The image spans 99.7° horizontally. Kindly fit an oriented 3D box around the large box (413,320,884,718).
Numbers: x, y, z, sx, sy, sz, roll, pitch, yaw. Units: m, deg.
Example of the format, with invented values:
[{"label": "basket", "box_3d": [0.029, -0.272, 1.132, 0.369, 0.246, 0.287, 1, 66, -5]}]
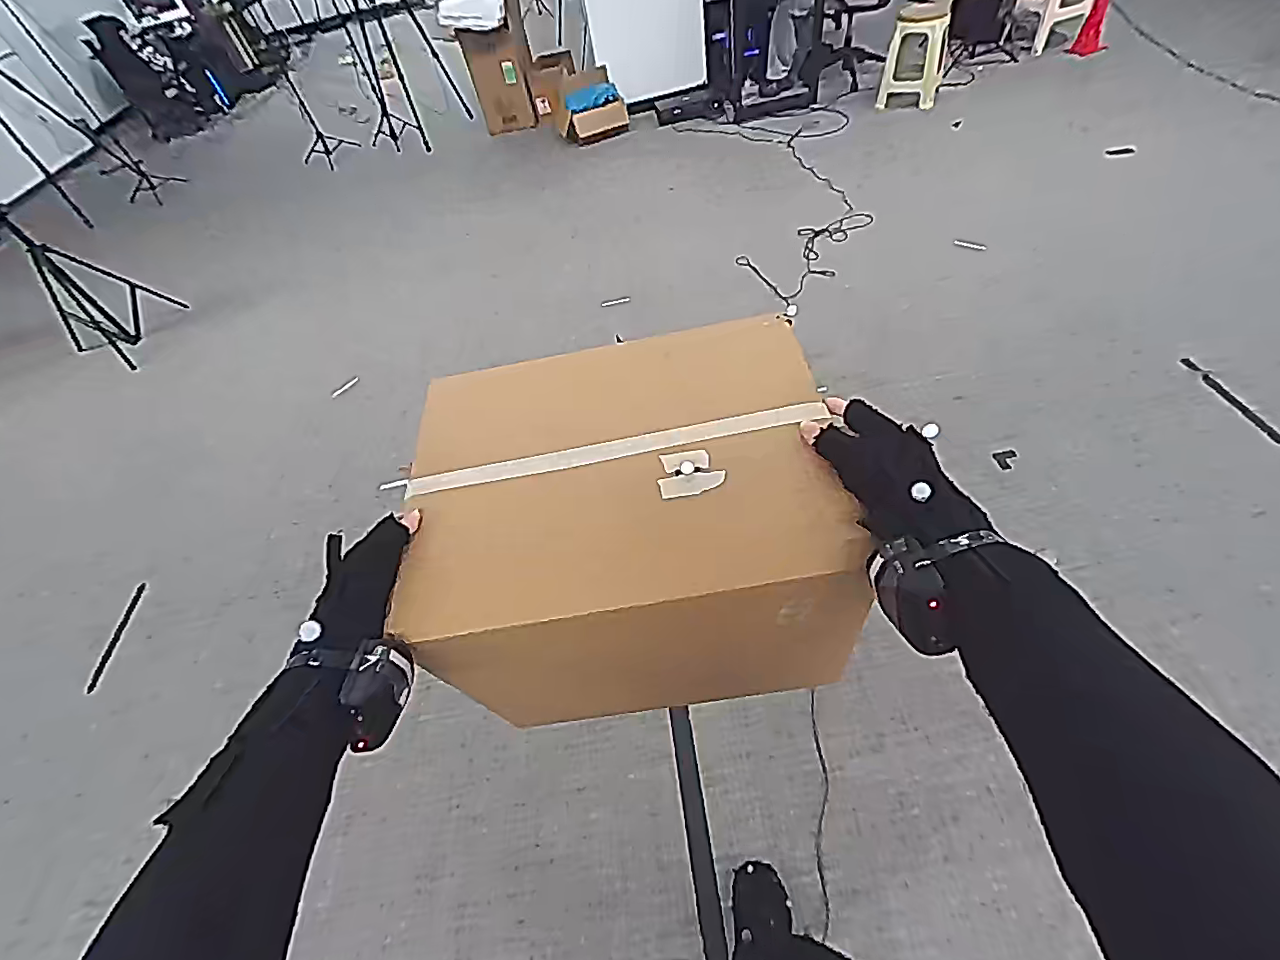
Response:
[{"label": "large box", "box_3d": [0.007, 0.061, 0.648, 0.408, 0.320, 0.320, -10, 53, 3]}]
